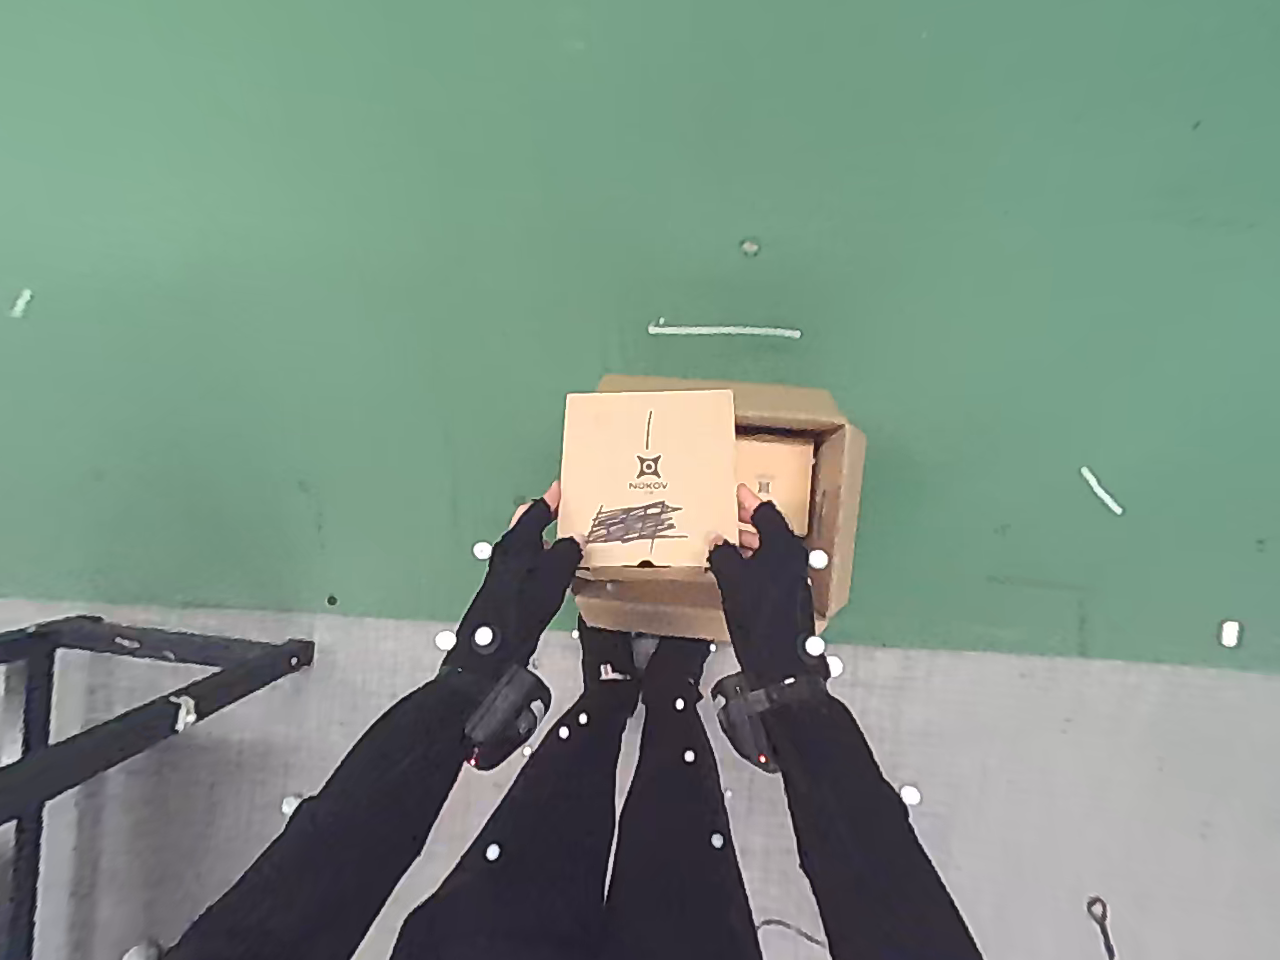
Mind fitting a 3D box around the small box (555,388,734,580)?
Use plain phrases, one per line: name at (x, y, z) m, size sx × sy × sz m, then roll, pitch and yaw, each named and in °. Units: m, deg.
small box at (0.014, 0.014, 0.580) m, size 0.168 × 0.176 × 0.179 m, roll 1°, pitch 76°, yaw 5°
